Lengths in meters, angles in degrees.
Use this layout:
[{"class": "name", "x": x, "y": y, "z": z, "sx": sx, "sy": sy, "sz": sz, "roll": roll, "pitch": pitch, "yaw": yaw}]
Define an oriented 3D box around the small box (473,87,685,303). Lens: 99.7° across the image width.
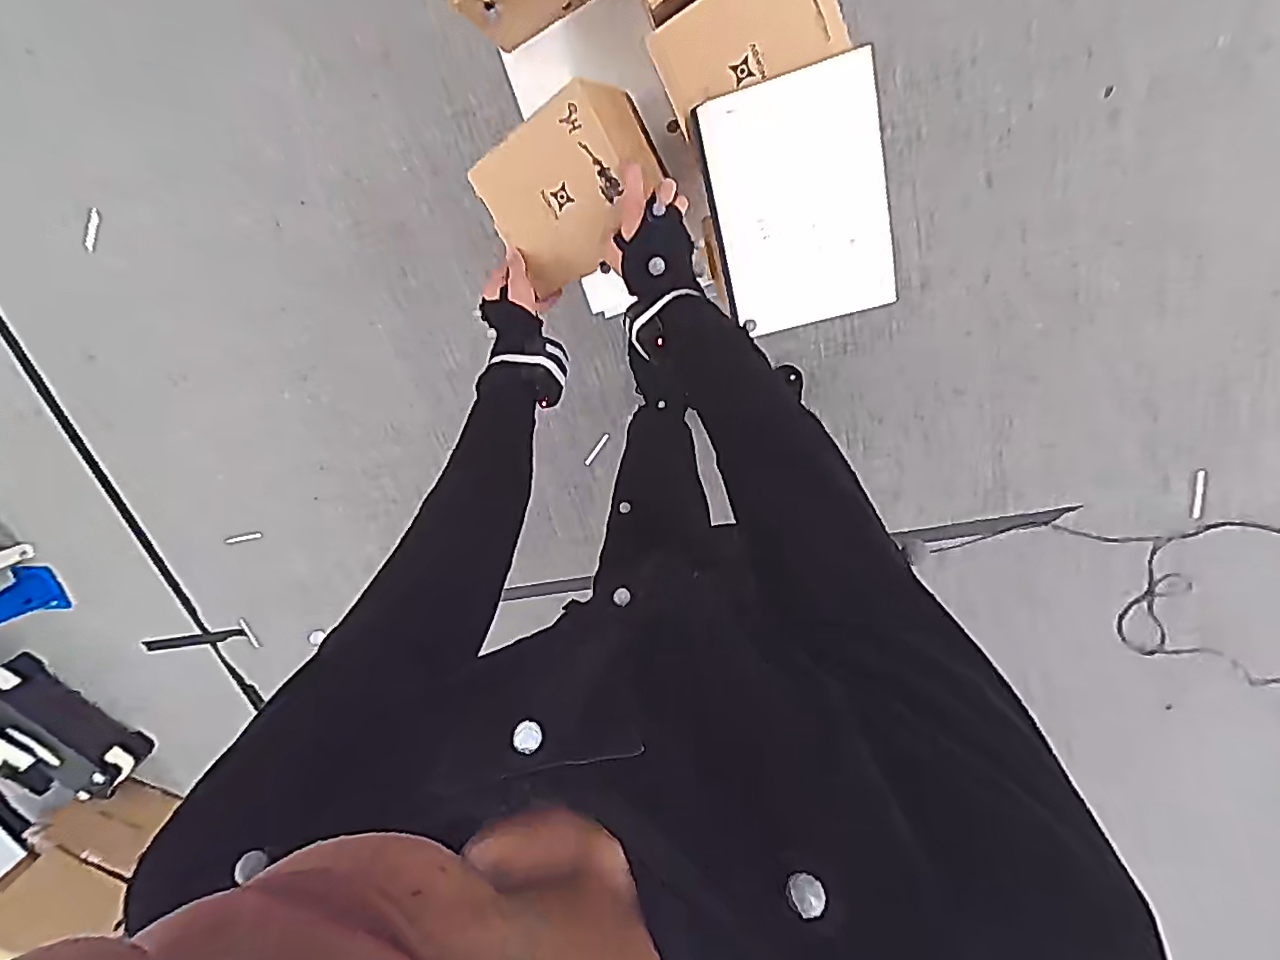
[{"class": "small box", "x": -0.067, "y": -0.355, "z": 0.690, "sx": 0.179, "sy": 0.176, "sz": 0.168, "roll": -21, "pitch": 110, "yaw": 30}]
